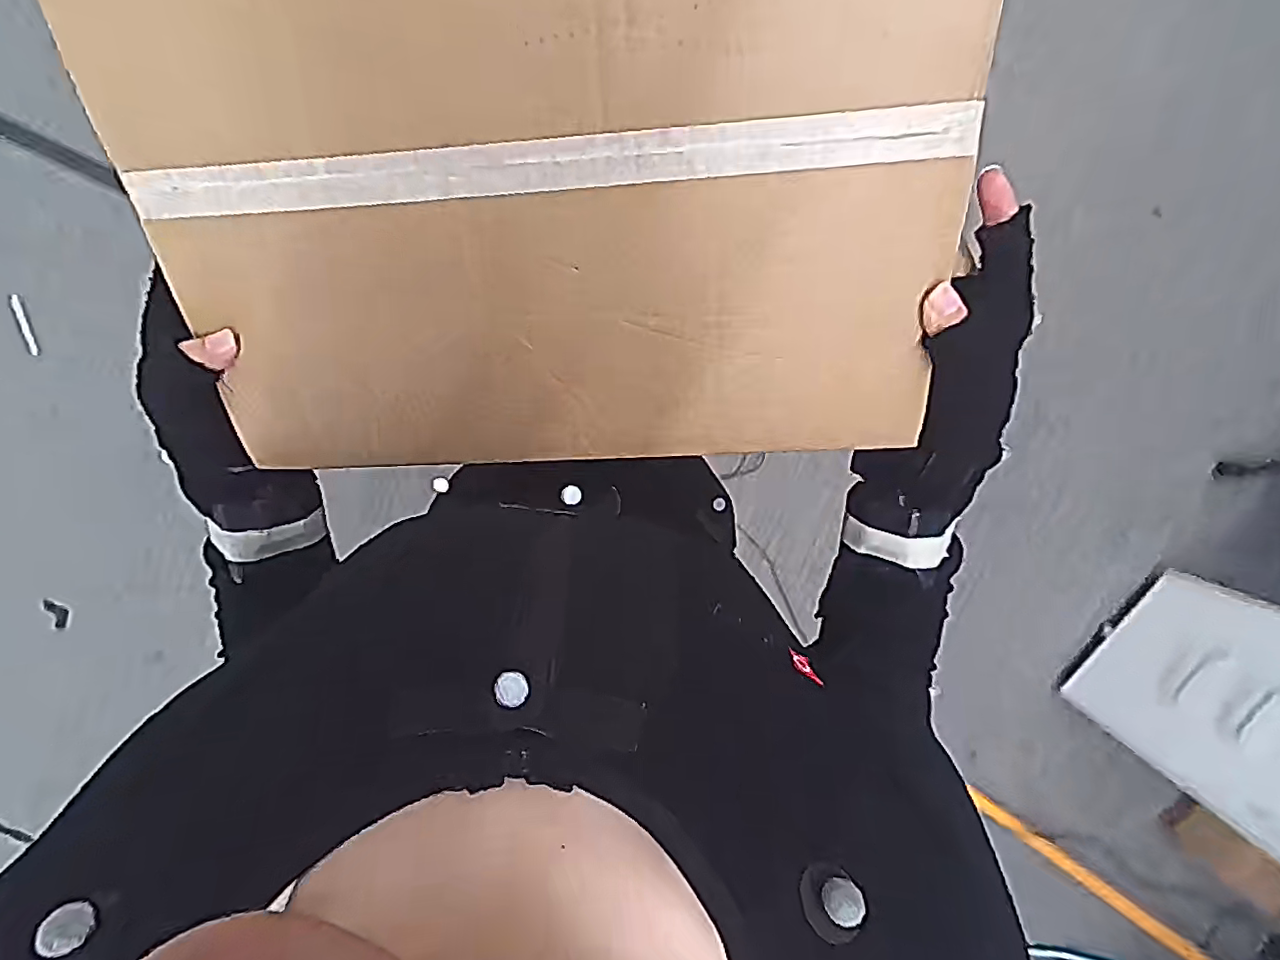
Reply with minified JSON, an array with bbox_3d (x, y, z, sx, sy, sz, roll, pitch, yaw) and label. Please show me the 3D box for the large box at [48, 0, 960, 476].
[{"bbox_3d":[-0.050,-0.219,0.398,0.408,0.320,0.320,-3,118,5],"label":"large box"}]
